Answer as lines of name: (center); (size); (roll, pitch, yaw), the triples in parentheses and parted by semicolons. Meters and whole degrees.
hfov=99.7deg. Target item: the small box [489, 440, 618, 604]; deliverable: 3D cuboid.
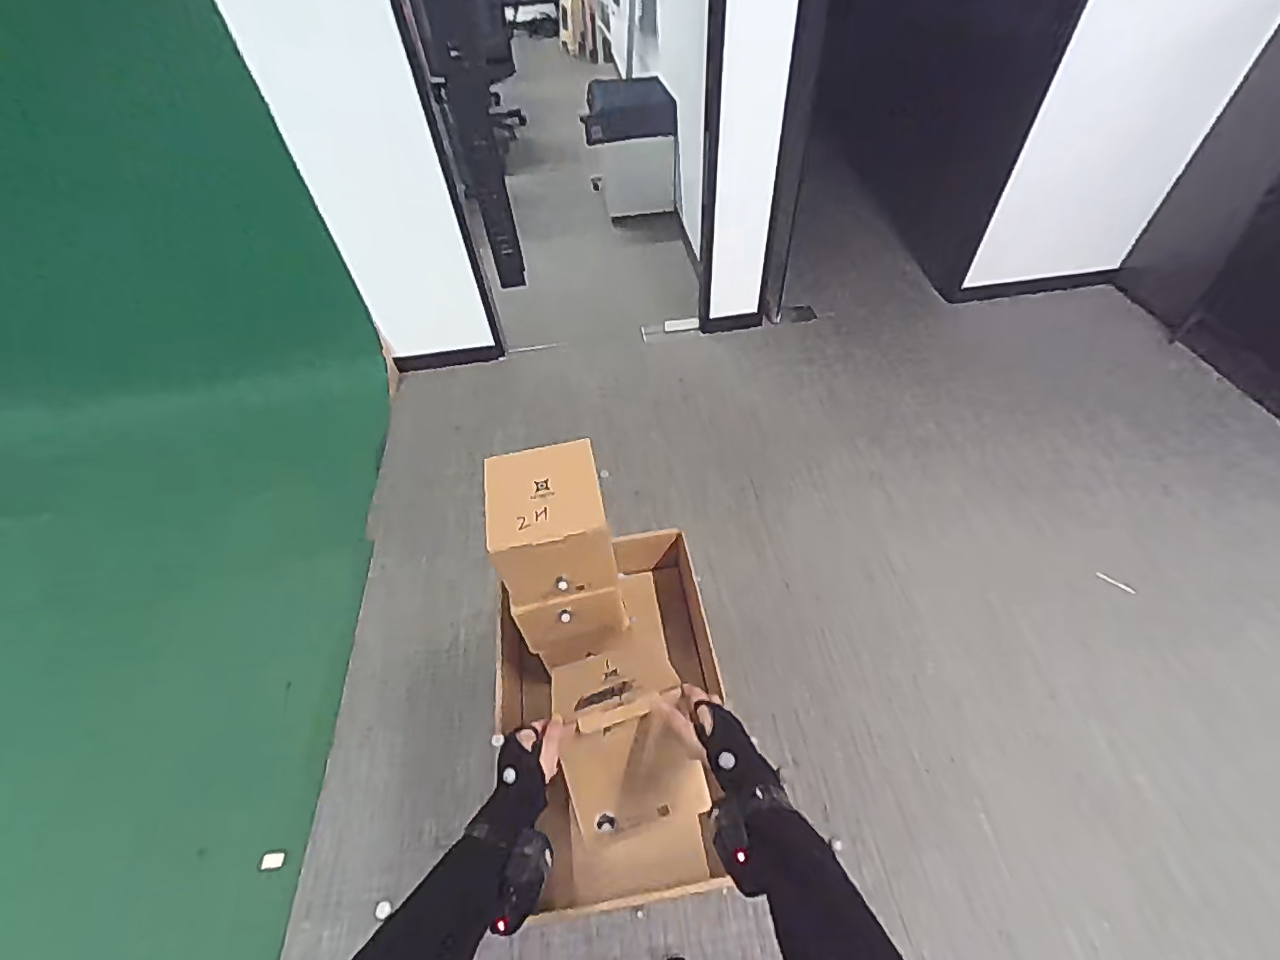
small box: (-0.133, 0.068, 0.848); (0.168, 0.176, 0.179); (-12, 51, -4)

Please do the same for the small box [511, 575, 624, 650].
small box: (-0.128, 0.181, 0.968); (0.179, 0.176, 0.168); (-13, 51, -5)

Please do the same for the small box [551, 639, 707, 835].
small box: (-0.020, 0.345, 0.739); (0.168, 0.179, 0.176); (-14, 94, -8)
